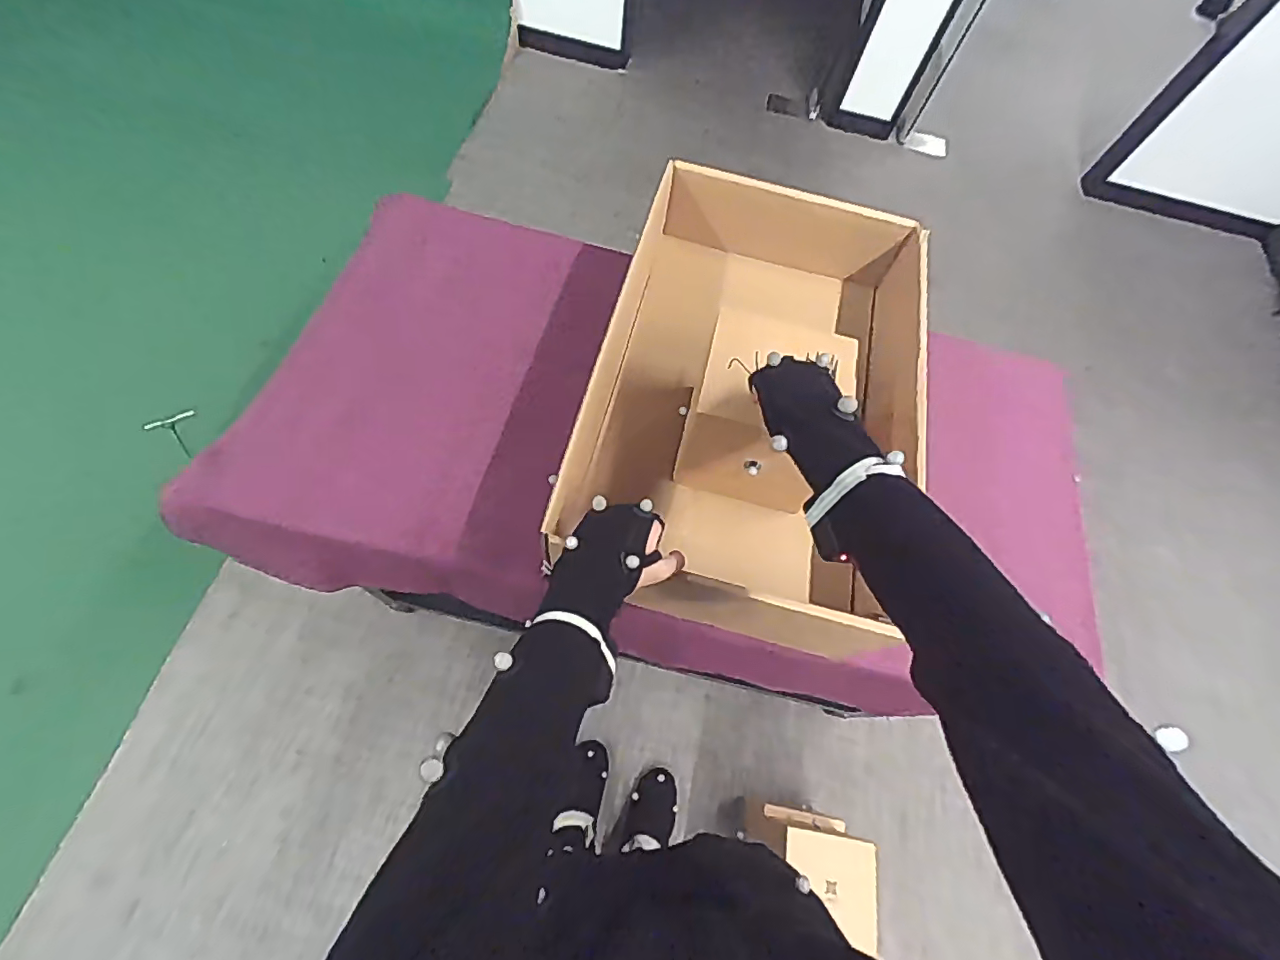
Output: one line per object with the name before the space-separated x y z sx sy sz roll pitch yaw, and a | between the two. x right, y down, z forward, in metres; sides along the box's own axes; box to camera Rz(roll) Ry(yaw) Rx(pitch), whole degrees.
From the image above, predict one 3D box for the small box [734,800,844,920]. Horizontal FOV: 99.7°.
small box | 0.315 0.805 1.163 0.179 0.176 0.168 13 64 0
